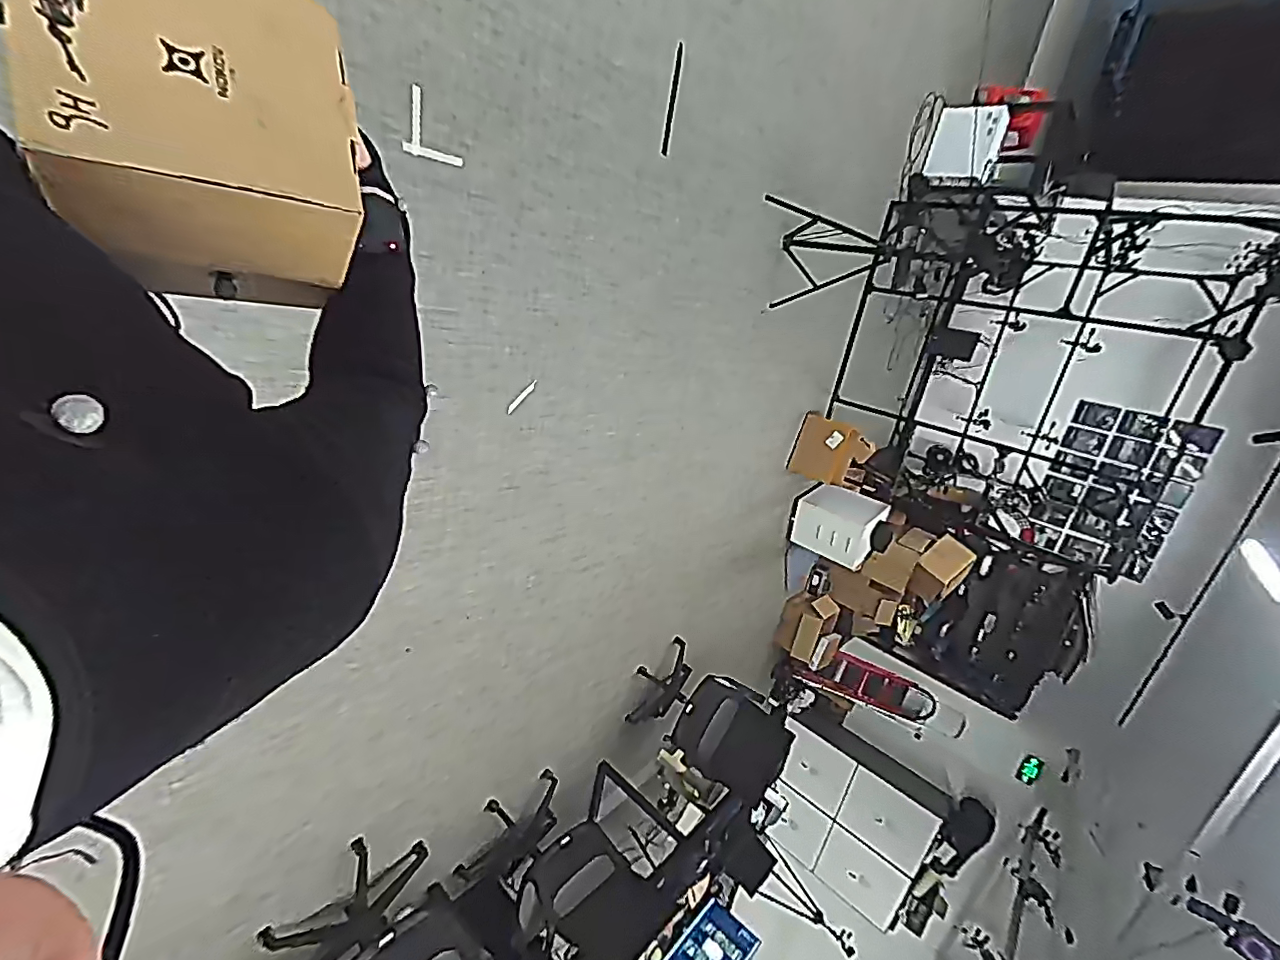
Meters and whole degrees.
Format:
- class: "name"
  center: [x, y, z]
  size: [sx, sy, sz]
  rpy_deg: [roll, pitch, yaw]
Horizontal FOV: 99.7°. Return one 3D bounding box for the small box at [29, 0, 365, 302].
- class: "small box"
  center: [-0.341, -0.260, 0.435]
  size: [0.179, 0.176, 0.168]
  rpy_deg: [-6, 83, -37]
